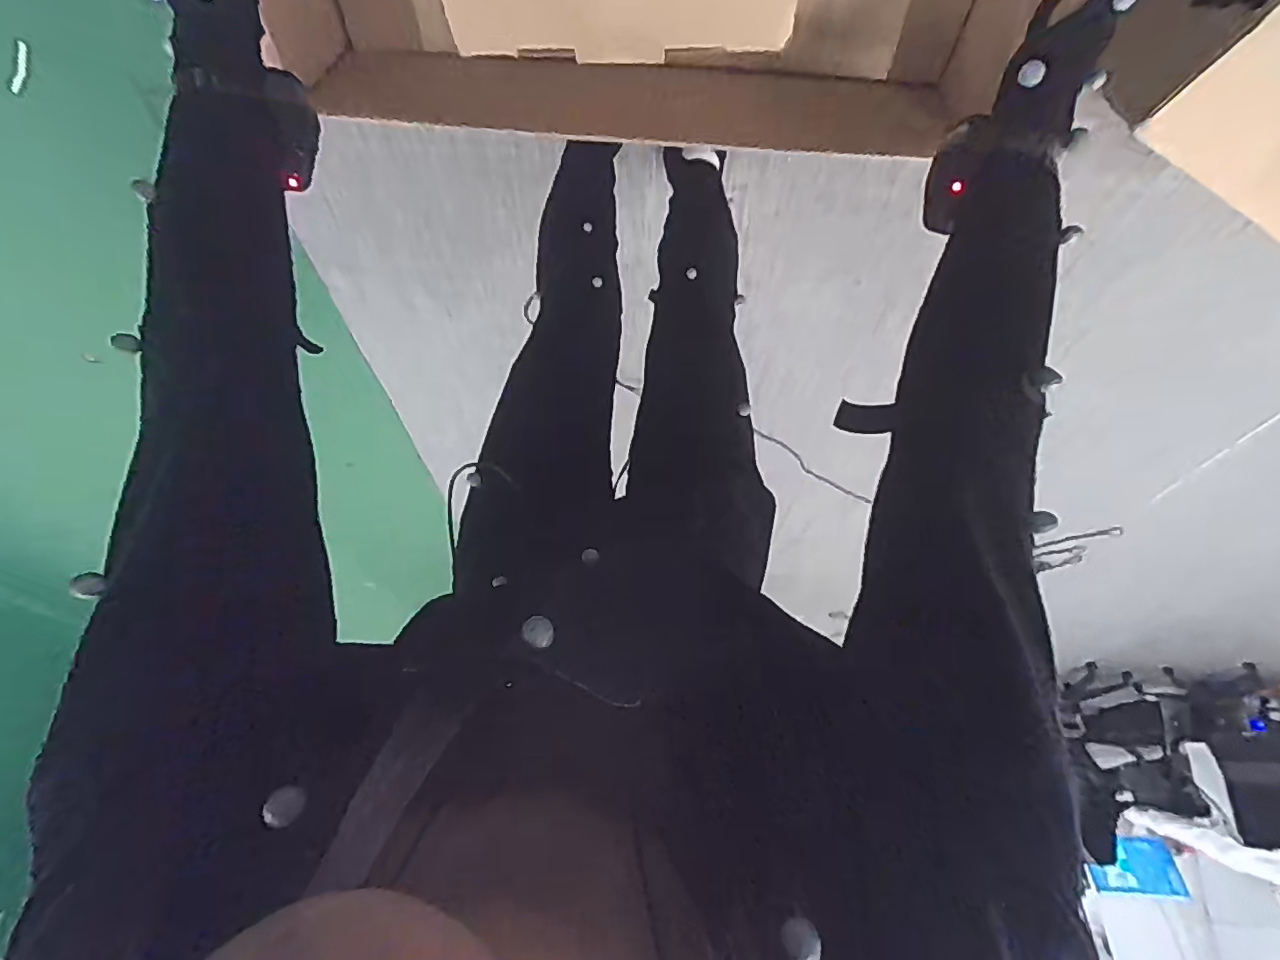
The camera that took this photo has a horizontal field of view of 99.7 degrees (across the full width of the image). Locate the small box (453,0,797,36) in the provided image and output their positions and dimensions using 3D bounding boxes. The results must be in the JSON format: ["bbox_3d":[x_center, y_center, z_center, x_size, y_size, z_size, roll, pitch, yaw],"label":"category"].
[{"bbox_3d":[-0.005,-0.330,0.229,0.168,0.176,0.179,1,148,3],"label":"small box"}]
